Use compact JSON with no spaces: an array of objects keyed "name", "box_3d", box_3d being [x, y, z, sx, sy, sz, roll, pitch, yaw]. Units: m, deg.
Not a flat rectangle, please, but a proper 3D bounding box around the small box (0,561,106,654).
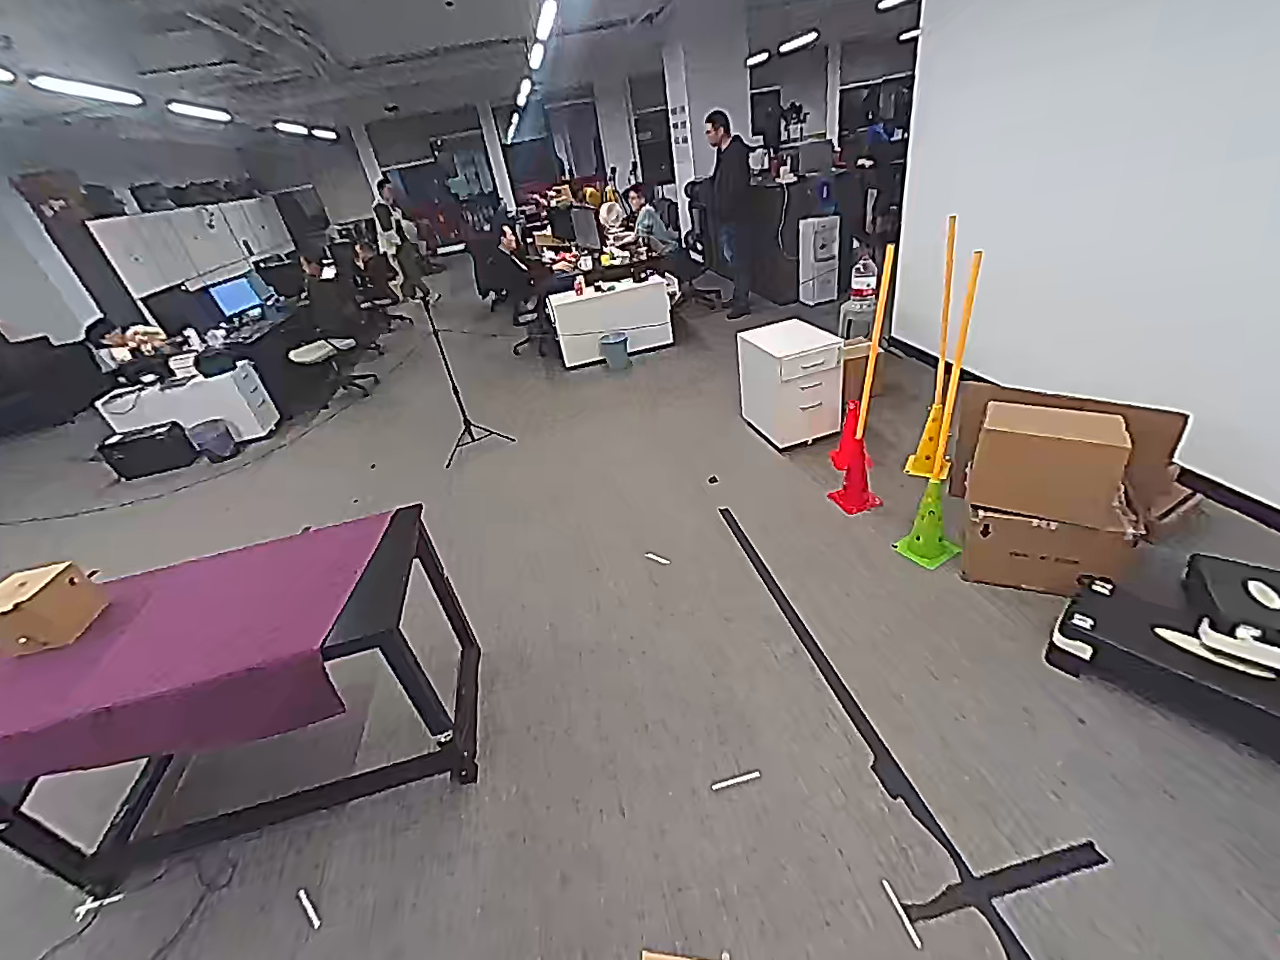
[{"name":"small box","box_3d":[-1.694,0.362,1.539,0.168,0.176,0.179,-13,32,-4]}]
